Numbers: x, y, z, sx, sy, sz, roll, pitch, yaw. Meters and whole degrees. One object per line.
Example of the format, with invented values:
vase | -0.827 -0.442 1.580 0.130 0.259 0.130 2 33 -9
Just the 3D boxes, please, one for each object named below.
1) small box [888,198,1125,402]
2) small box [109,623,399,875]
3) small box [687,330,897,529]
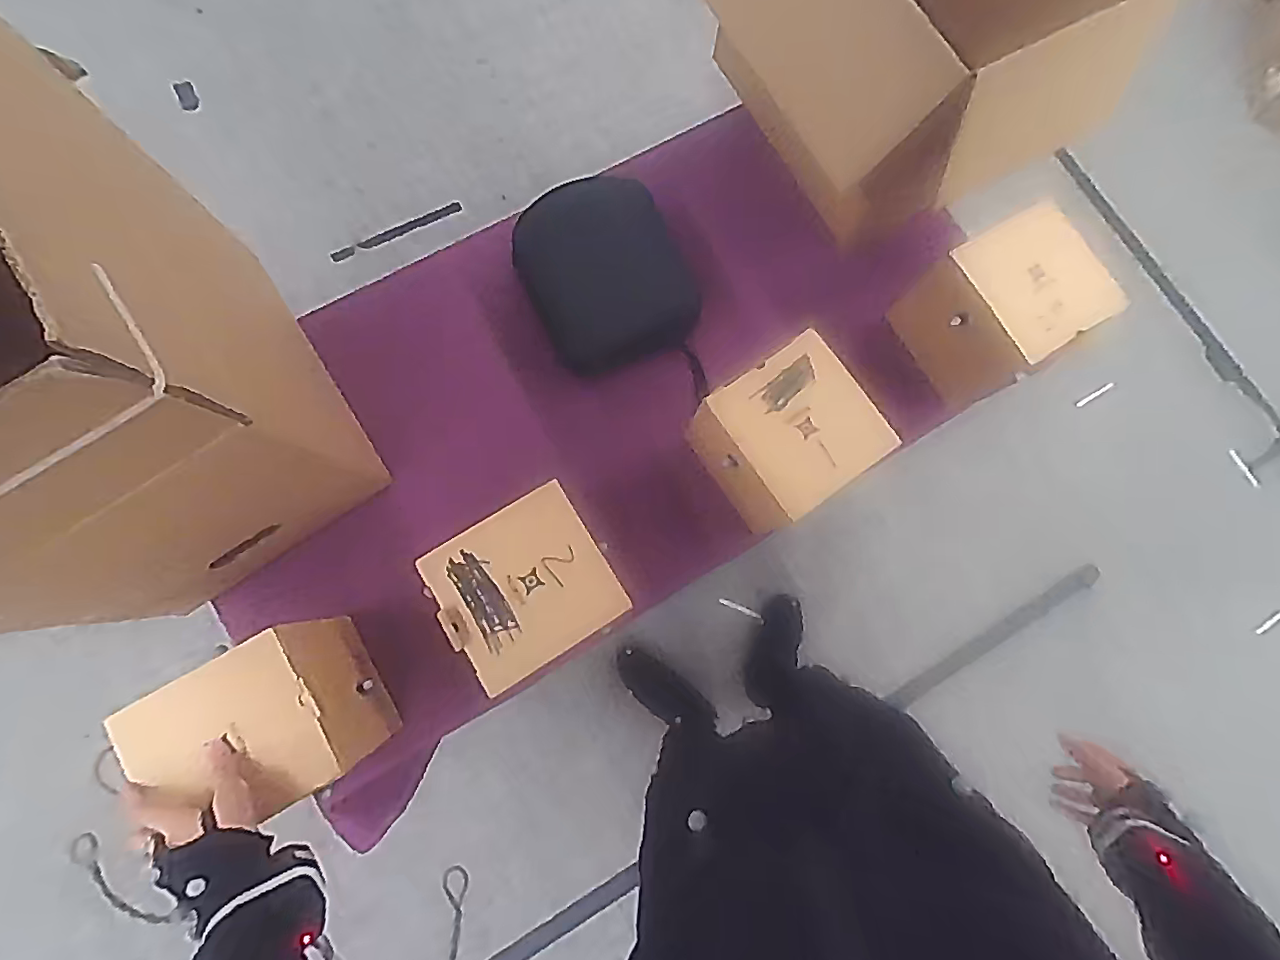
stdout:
small box | 0.486 -0.236 0.749 0.168 0.176 0.179 -30 82 -7
small box | -0.411 0.279 0.609 0.179 0.176 0.168 -31 83 -10
small box | 0.180 -0.053 0.702 0.168 0.176 0.179 -34 84 -8
